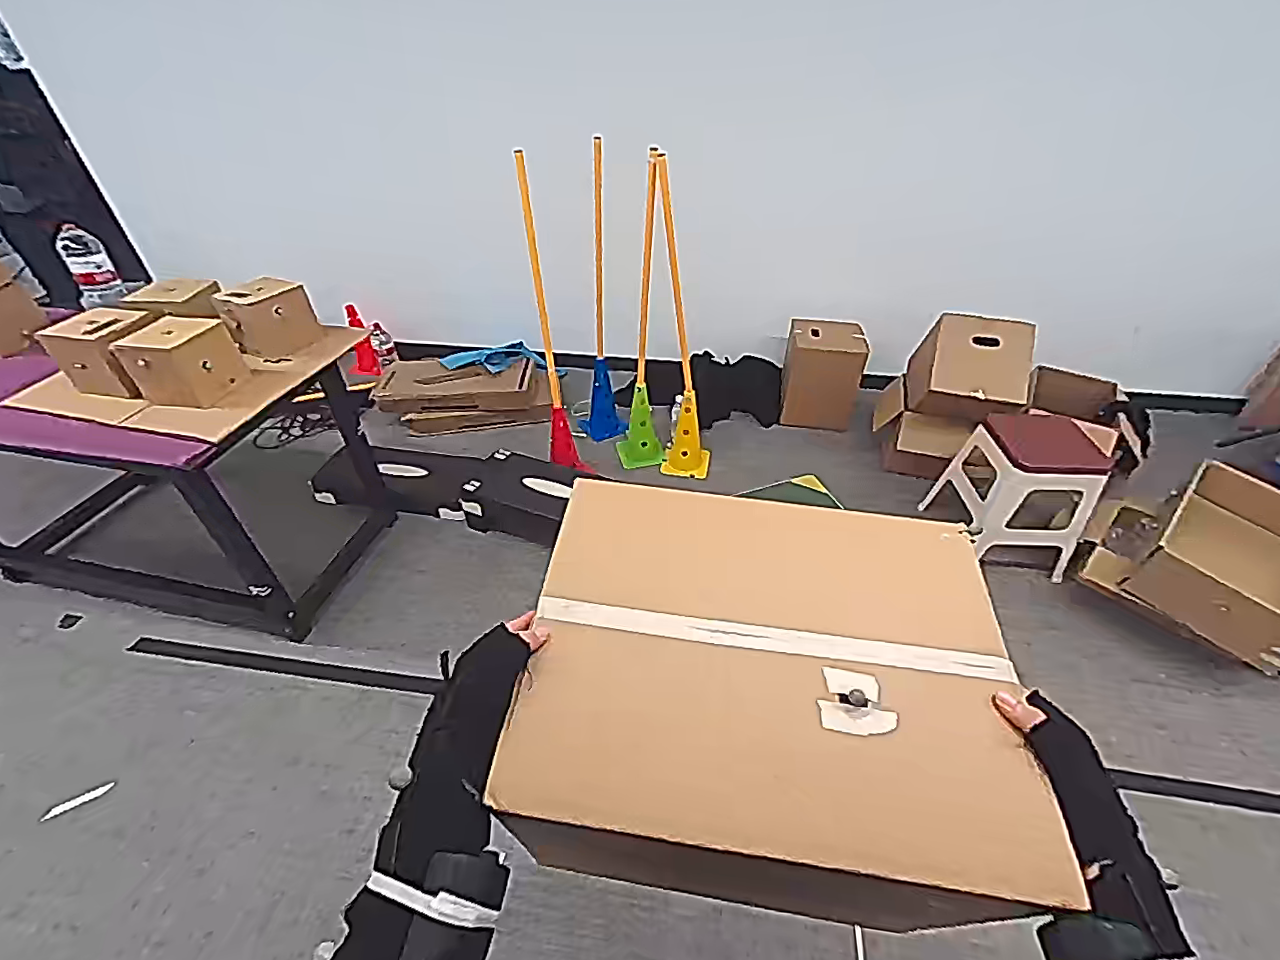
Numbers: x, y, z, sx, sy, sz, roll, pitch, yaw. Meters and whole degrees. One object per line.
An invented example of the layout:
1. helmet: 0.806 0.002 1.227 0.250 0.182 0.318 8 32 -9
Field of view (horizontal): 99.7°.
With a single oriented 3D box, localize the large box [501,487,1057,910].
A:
1. large box: 0.105 0.238 0.591 0.408 0.320 0.320 7 49 4
